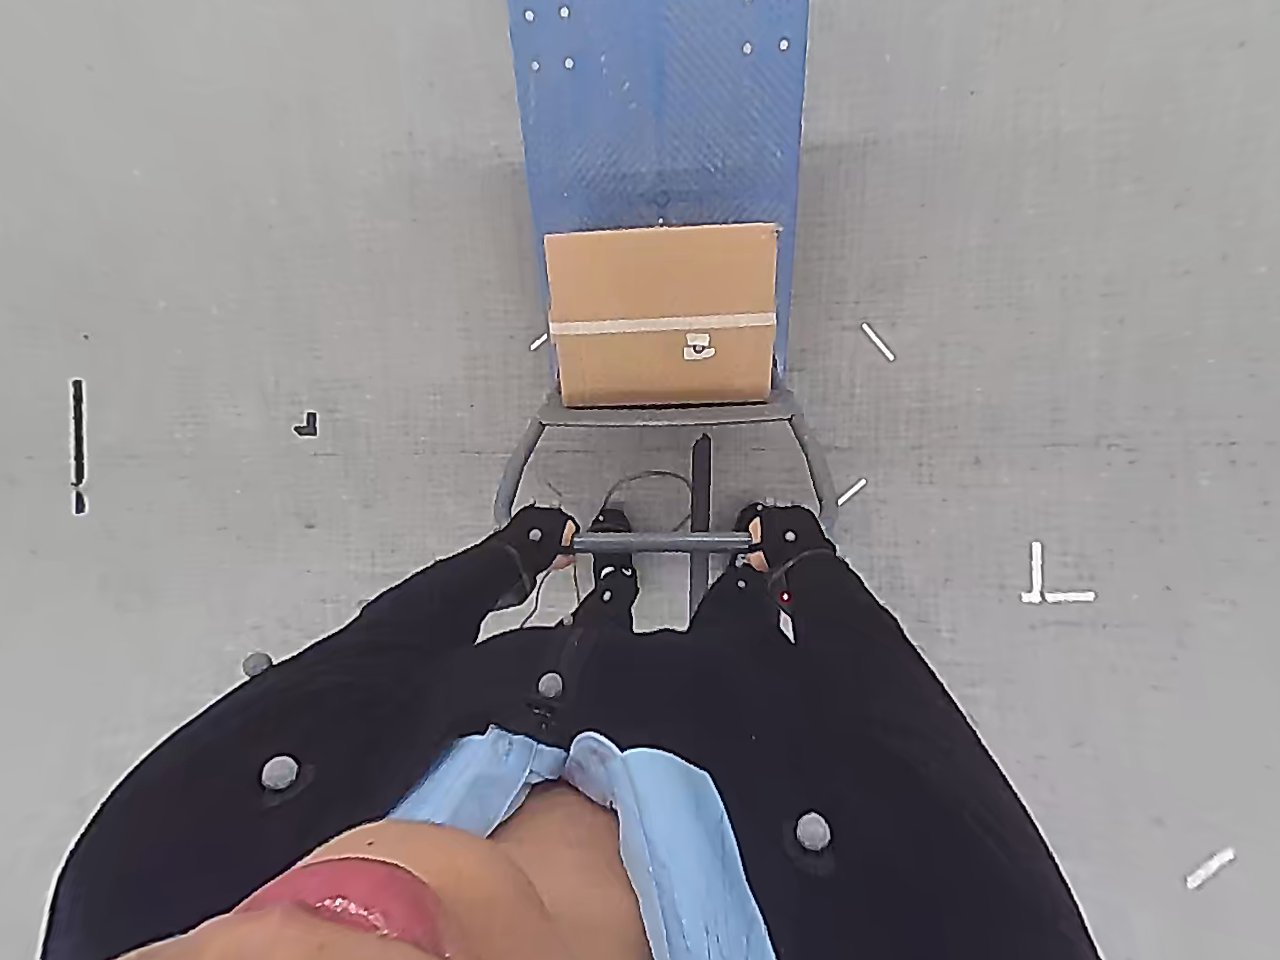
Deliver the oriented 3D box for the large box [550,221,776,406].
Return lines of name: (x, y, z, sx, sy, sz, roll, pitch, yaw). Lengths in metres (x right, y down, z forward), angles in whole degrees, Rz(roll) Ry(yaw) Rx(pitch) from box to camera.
large box: (0.053, -0.358, 1.139, 0.408, 0.320, 0.320, -2, 115, 4)
